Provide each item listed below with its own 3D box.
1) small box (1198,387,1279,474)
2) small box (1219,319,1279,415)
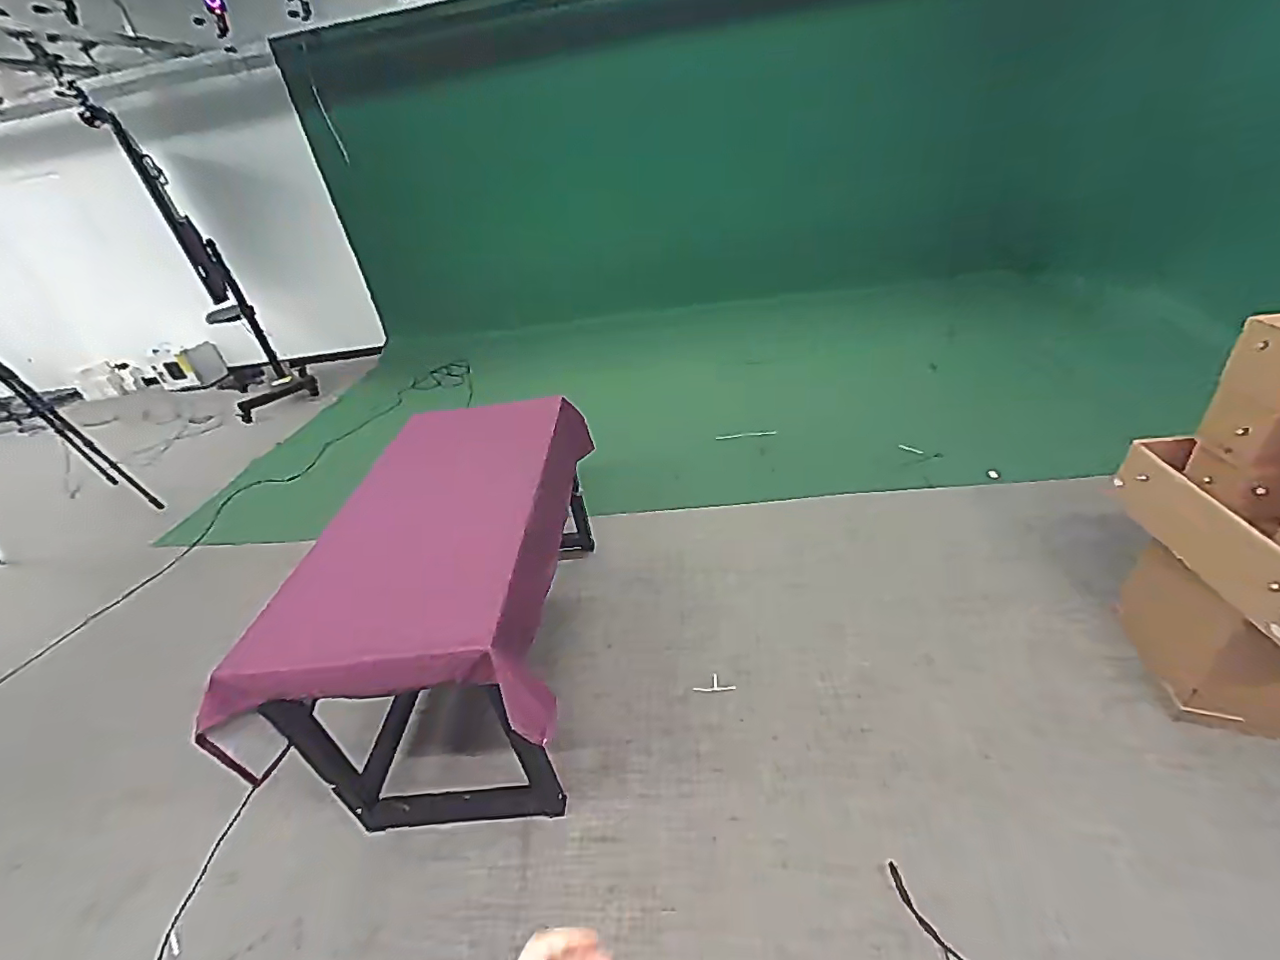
[{"bbox_3d":[1.544,-0.126,1.330,0.179,0.176,0.168,-3,34,8],"label":"small box"},{"bbox_3d":[1.514,-0.263,1.243,0.168,0.176,0.179,-3,34,12],"label":"small box"}]
